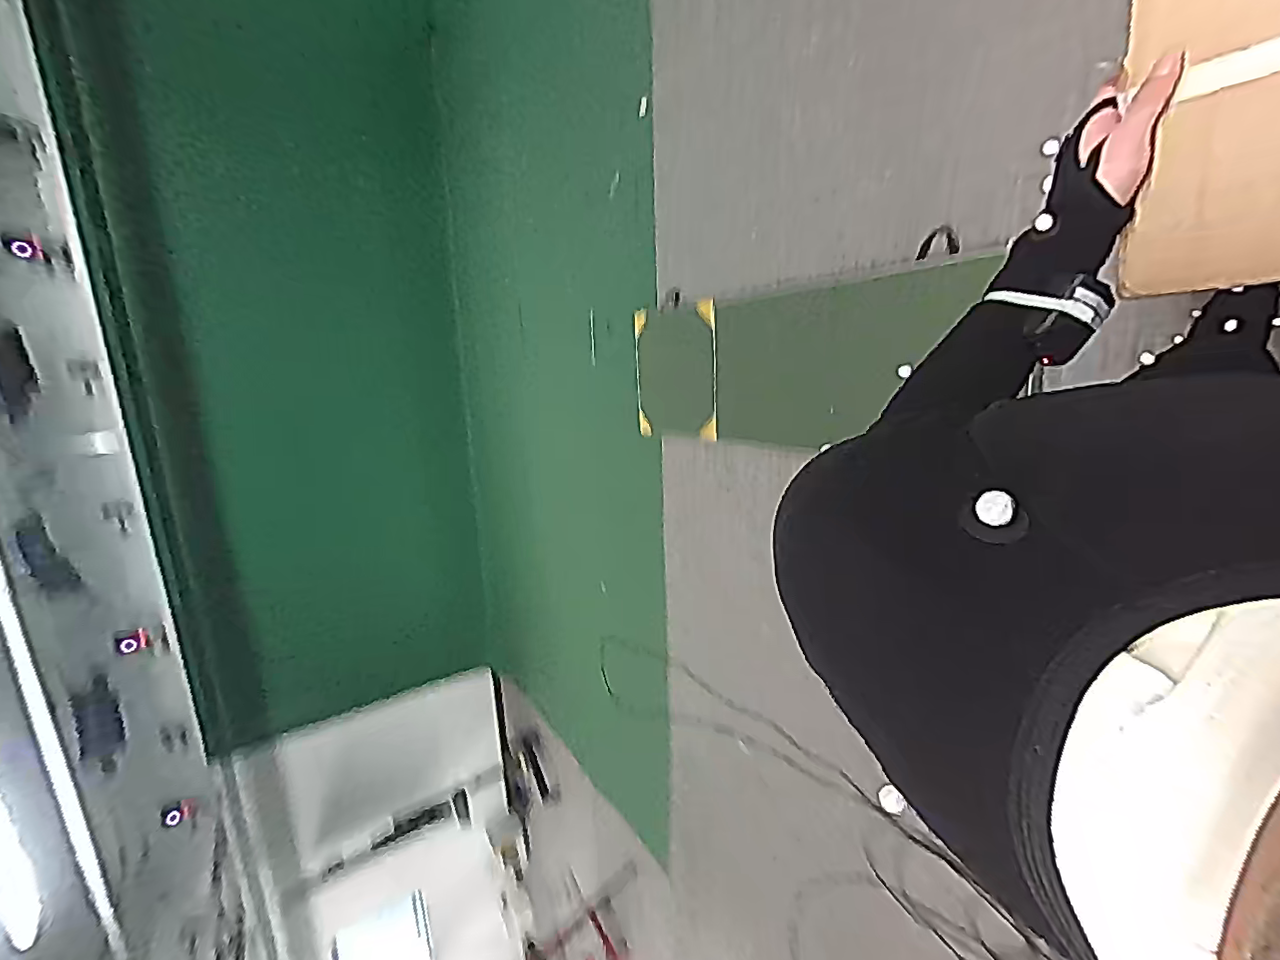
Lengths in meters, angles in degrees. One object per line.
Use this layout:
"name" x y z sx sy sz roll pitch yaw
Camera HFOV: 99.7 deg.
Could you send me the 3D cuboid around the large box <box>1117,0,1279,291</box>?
"large box" 0.640 -0.348 0.401 0.408 0.320 0.320 5 111 48
